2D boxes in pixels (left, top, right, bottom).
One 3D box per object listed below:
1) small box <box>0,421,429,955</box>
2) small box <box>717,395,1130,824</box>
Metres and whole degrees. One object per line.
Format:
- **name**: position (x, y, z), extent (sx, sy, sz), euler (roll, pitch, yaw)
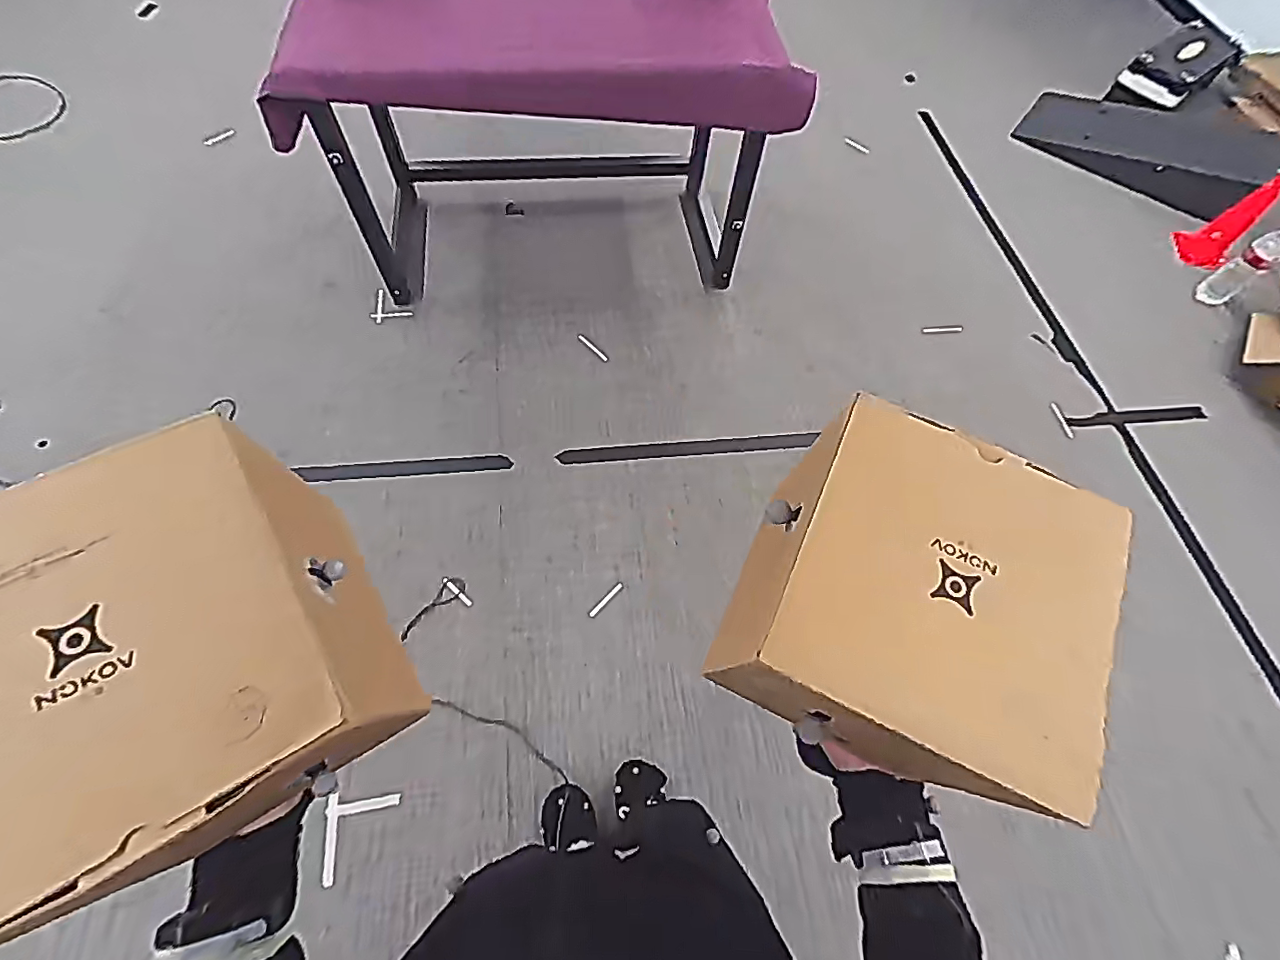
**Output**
- **small box**: position (-0.244, 0.103, 0.307), extent (0.168, 0.176, 0.179), euler (-29, 75, -18)
- **small box**: position (0.162, 0.083, 0.359), extent (0.168, 0.176, 0.179), euler (26, 67, 6)
